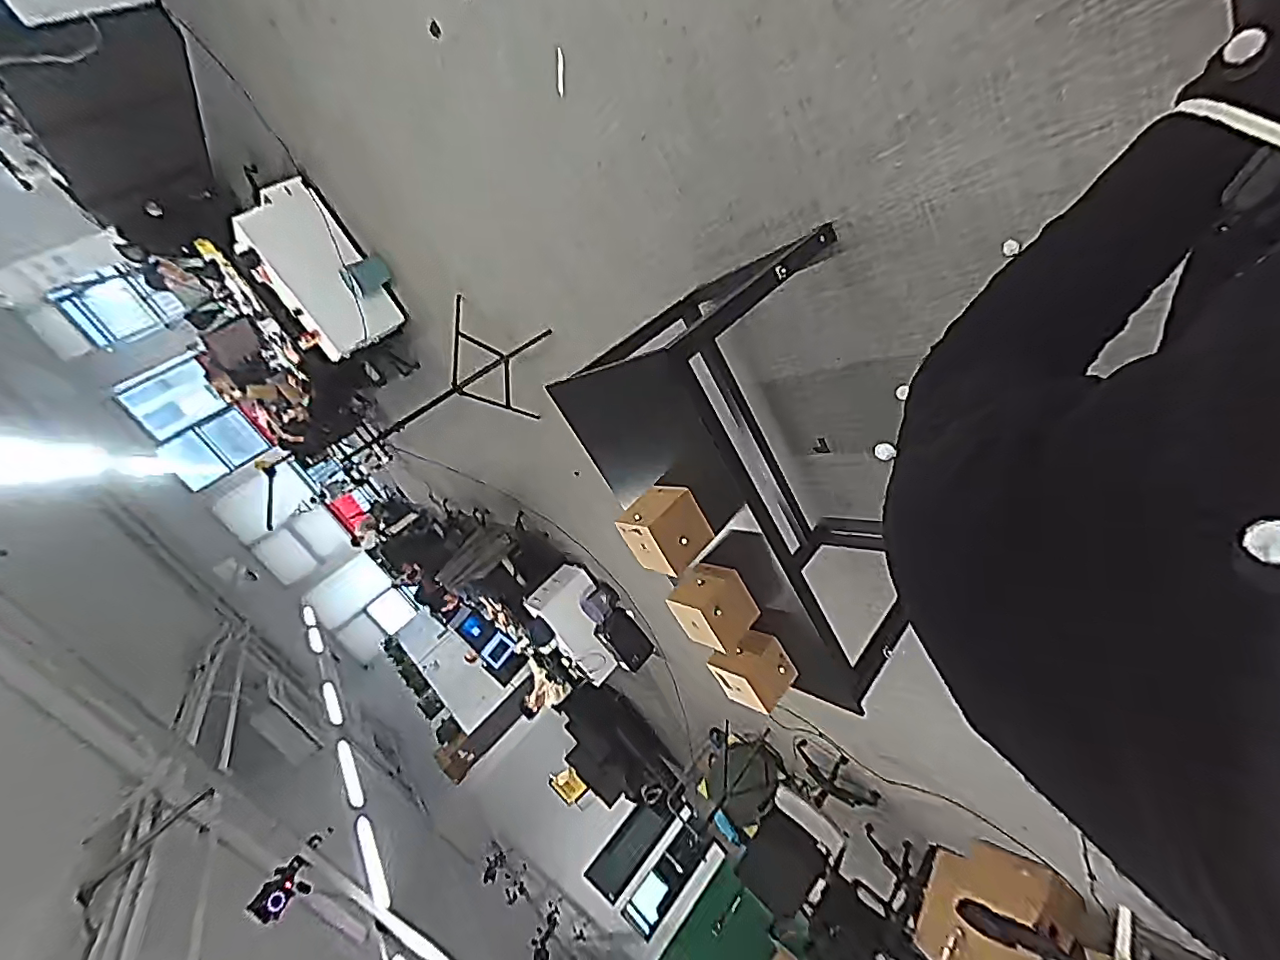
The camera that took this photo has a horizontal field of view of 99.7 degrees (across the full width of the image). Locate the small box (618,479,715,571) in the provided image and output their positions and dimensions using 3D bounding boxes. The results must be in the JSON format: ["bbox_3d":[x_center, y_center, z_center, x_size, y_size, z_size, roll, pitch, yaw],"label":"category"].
[{"bbox_3d":[0.077,0.120,1.499,0.168,0.176,0.179,4,131,55],"label":"small box"}]

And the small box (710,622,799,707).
[{"bbox_3d":[0.359,0.565,1.689,0.179,0.176,0.168,-2,126,57],"label":"small box"}]

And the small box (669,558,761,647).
[{"bbox_3d":[0.224,0.354,1.599,0.168,0.176,0.179,1,128,57],"label":"small box"}]
